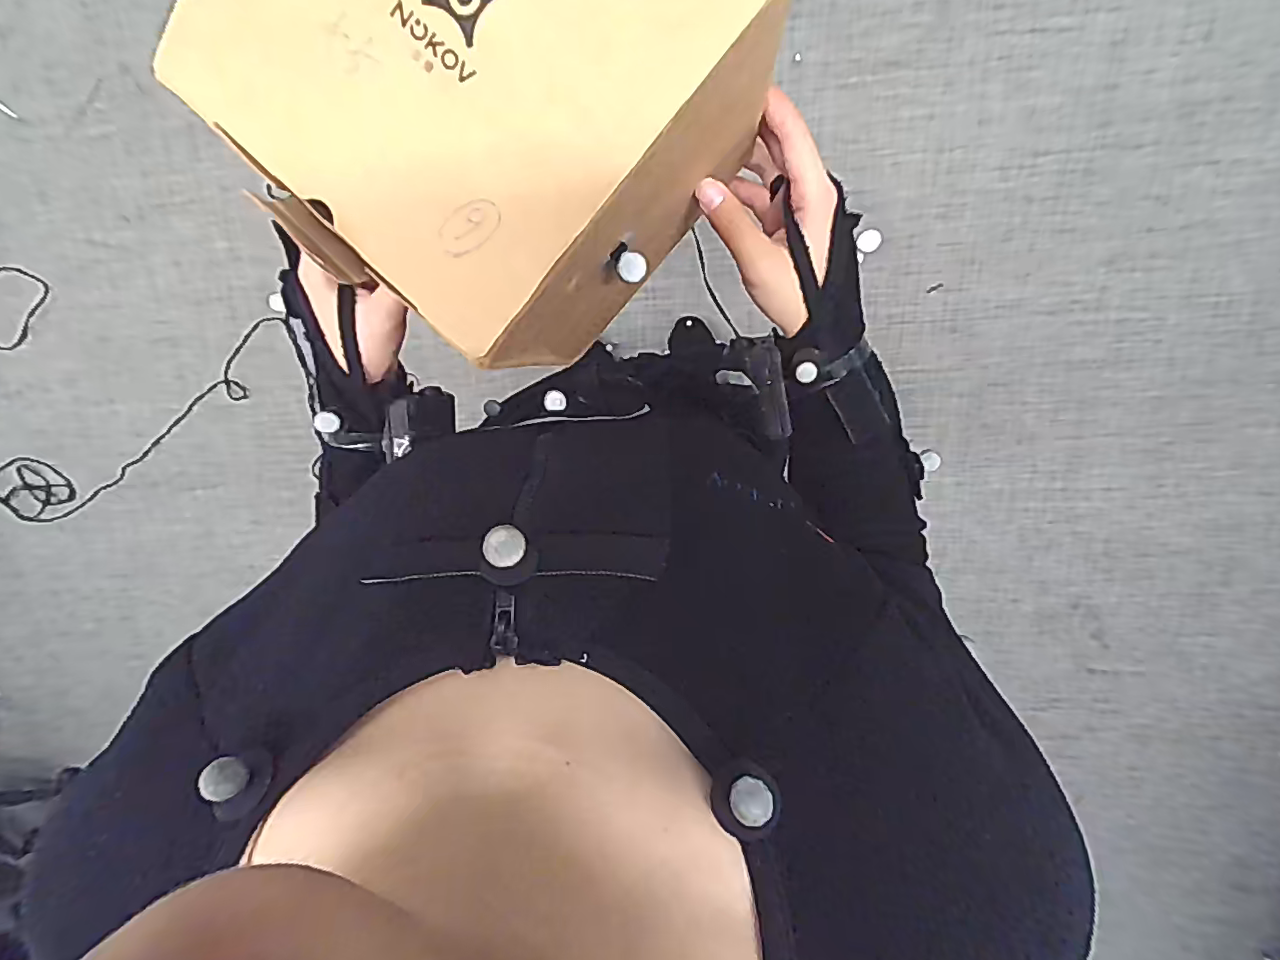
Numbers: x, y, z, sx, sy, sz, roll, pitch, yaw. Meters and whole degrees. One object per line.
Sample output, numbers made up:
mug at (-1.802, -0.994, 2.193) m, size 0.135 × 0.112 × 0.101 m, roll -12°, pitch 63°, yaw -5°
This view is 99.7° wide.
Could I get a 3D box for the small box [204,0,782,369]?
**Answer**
small box at (-0.053, -0.177, 0.282) m, size 0.168 × 0.176 × 0.179 m, roll 42°, pitch 103°, yaw -4°
